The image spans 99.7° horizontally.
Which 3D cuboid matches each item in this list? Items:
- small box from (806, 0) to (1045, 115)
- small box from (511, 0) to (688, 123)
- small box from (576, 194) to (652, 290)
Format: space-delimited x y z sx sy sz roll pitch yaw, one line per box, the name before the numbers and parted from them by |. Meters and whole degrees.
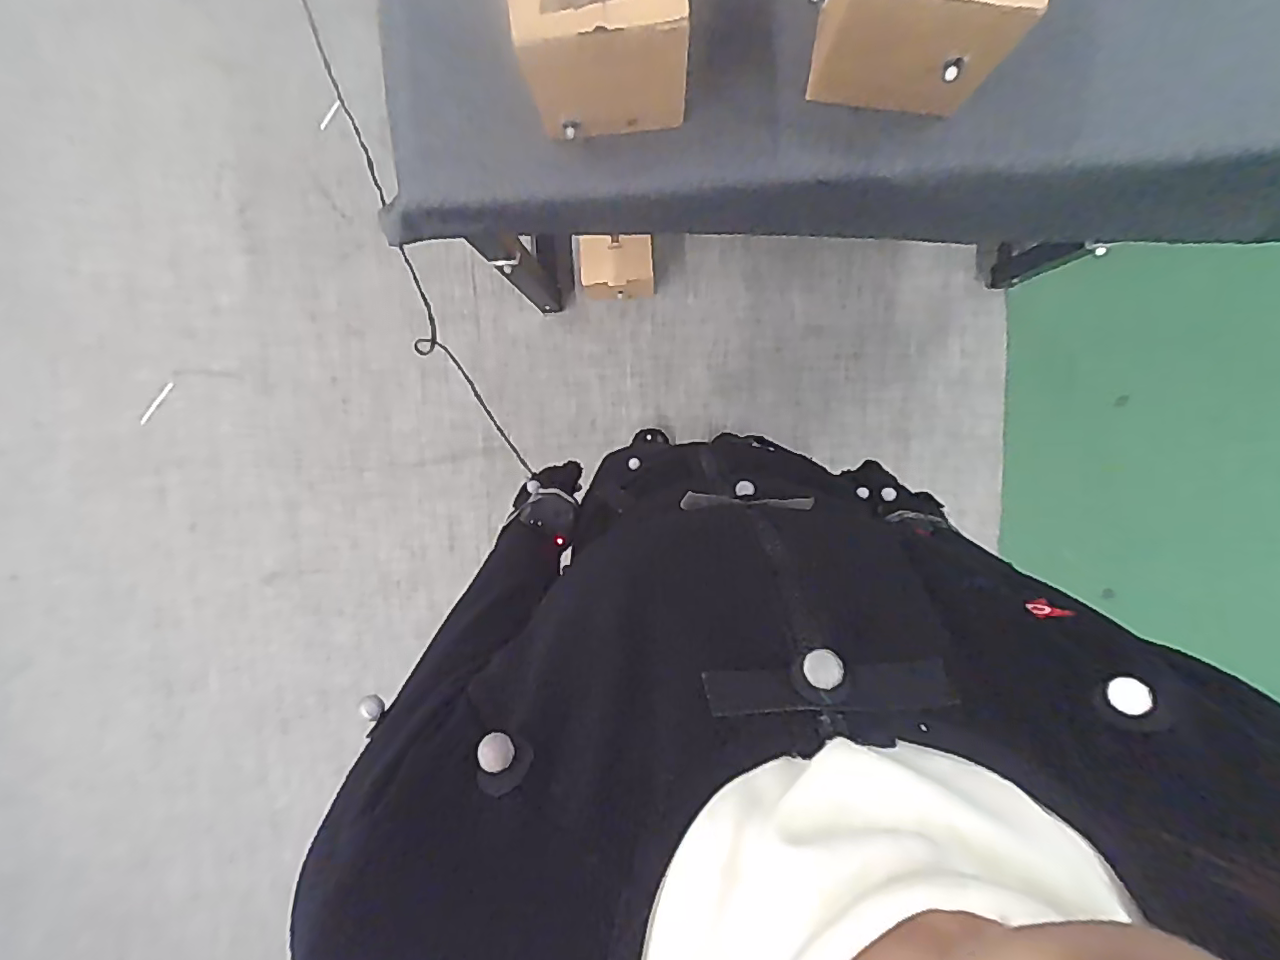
small box | 0.292 -0.516 0.562 0.179 0.176 0.168 8 95 2
small box | -0.038 -0.506 0.568 0.168 0.176 0.179 -4 94 2
small box | -0.057 -0.561 1.299 0.168 0.176 0.179 -2 97 2
